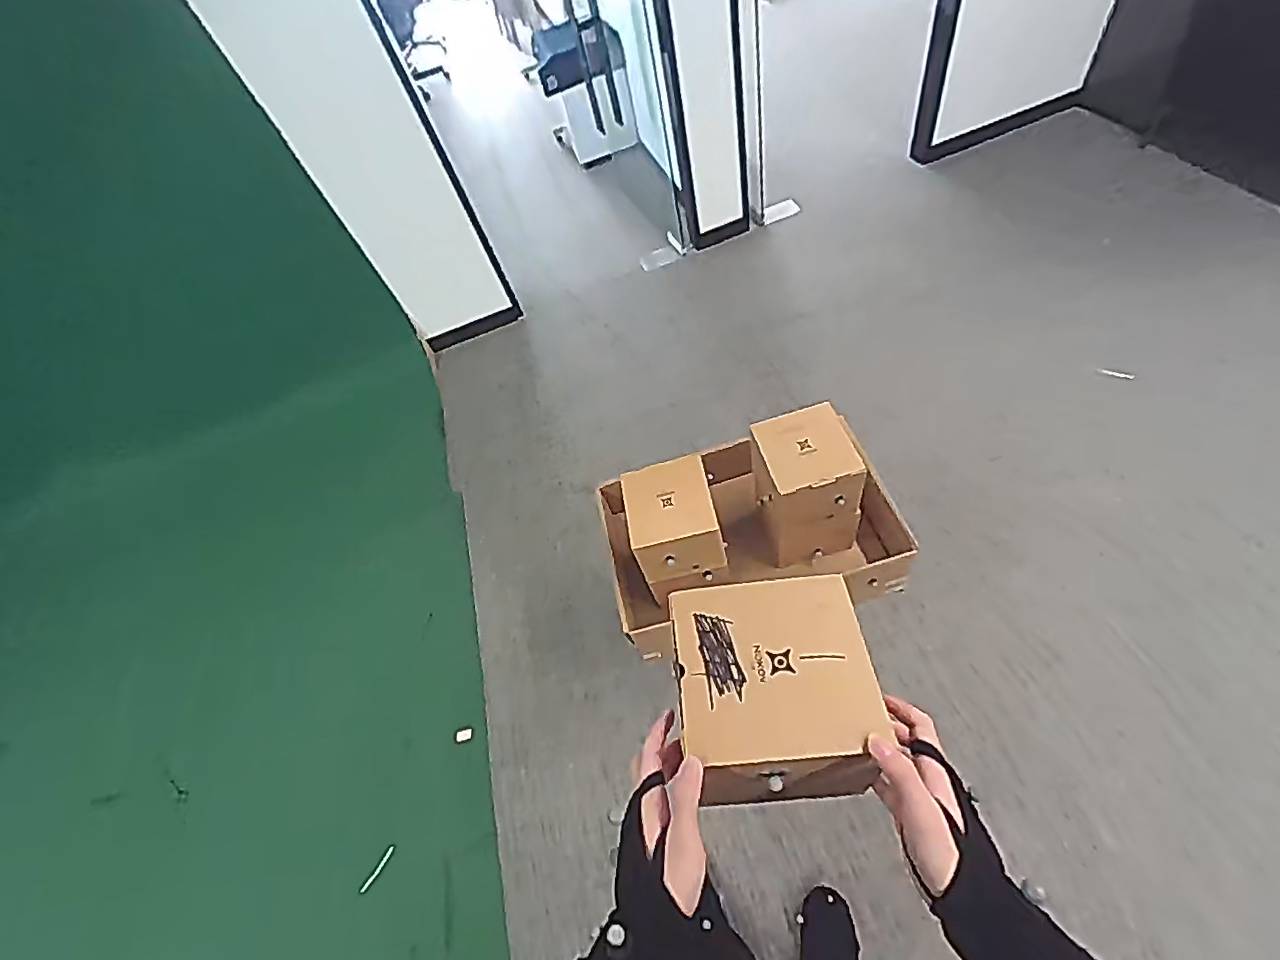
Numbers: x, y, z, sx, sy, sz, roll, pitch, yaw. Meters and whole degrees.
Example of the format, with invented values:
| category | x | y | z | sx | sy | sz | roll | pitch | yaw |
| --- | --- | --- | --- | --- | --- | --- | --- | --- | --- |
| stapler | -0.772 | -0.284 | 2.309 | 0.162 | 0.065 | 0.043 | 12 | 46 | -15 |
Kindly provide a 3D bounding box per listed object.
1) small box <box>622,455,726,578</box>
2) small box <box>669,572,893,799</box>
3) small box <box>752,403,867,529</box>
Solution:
| category | x | y | z | sx | sy | sz | roll | pitch | yaw |
| --- | --- | --- | --- | --- | --- | --- | --- | --- | --- |
| small box | 0.070 | 0.082 | 1.086 | 0.168 | 0.176 | 0.179 | -14 | 54 | 5 |
| small box | 0.129 | 0.214 | 0.553 | 0.179 | 0.176 | 0.168 | -7 | 49 | 4 |
| small box | 0.331 | -0.019 | 1.083 | 0.168 | 0.176 | 0.179 | -16 | 54 | 3 |
